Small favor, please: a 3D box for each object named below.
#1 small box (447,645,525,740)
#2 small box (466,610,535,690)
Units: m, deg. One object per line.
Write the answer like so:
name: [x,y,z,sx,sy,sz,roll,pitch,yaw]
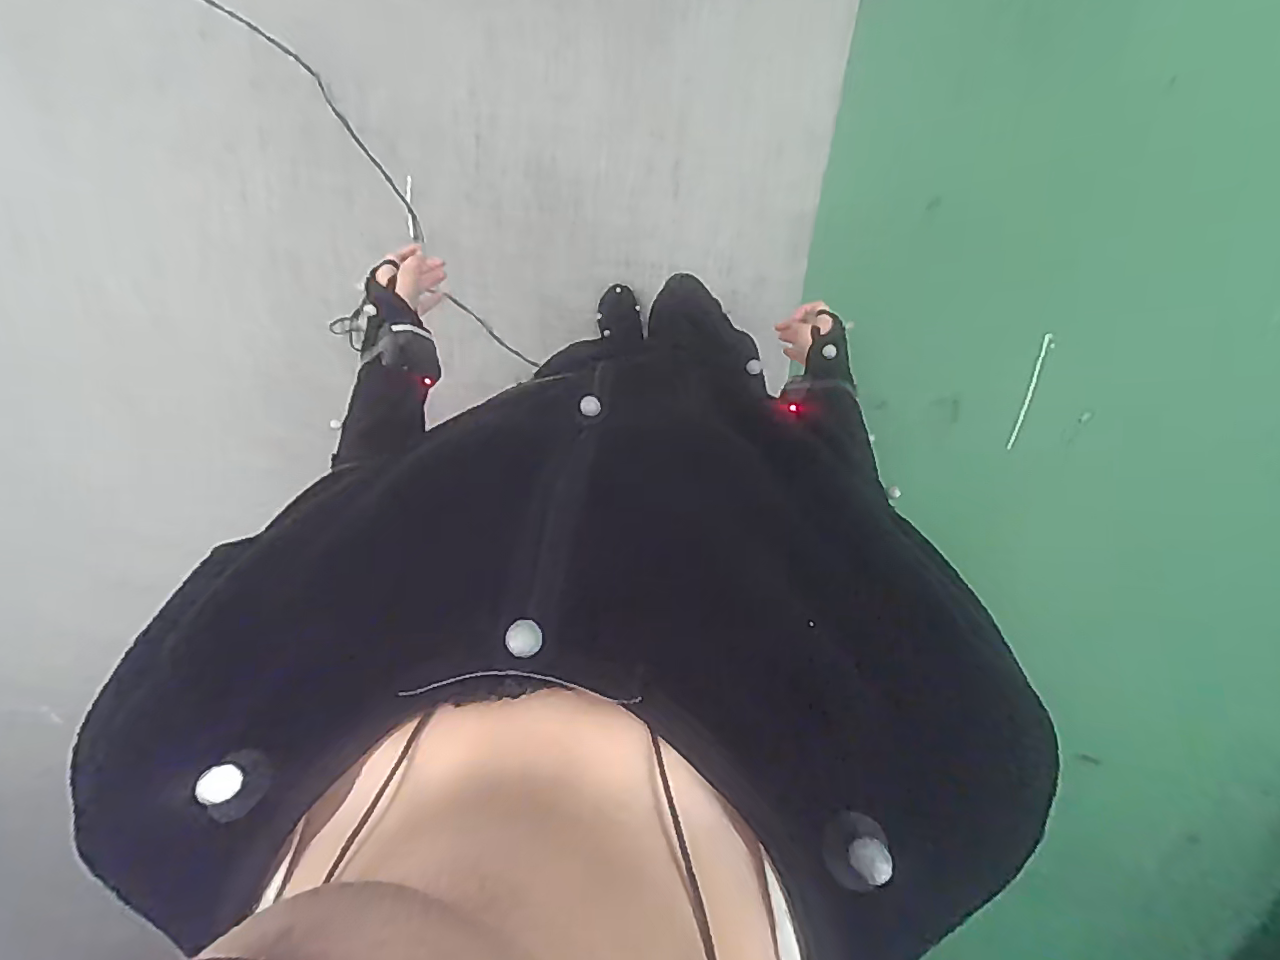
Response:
small box: [-0.414,0.571,1.469,0.168,0.176,0.179,4,110,-1]
small box: [-0.414,0.510,1.623,0.168,0.176,0.179,4,110,-1]
